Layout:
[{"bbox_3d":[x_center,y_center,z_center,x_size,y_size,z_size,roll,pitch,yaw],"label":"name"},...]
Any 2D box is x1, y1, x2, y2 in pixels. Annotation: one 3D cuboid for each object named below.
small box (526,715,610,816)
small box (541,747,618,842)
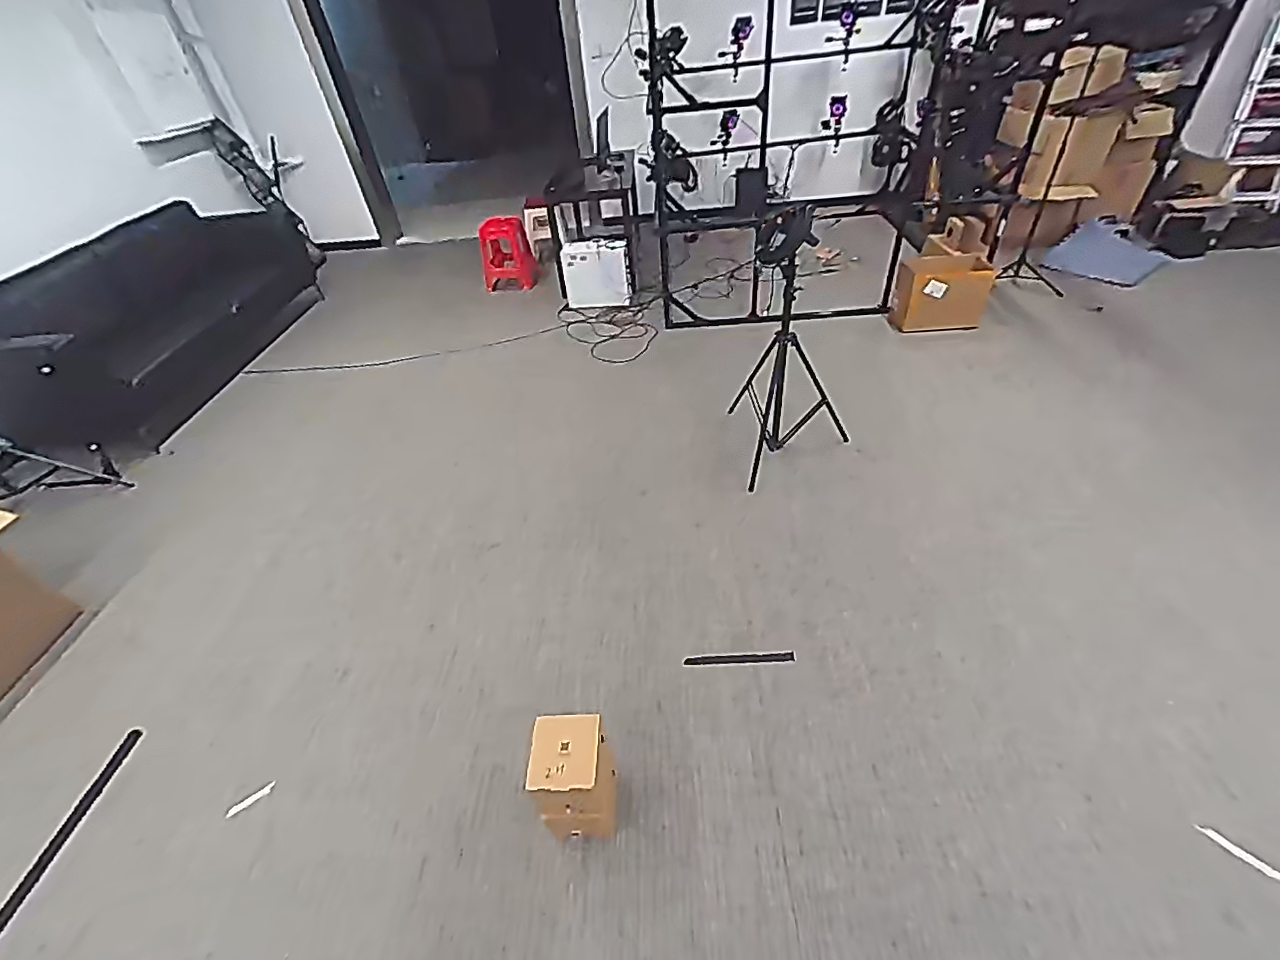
[{"bbox_3d":[-0.169,0.707,1.338,0.168,0.176,0.179,-4,42,5],"label":"small box"},{"bbox_3d":[-0.153,0.835,1.439,0.168,0.176,0.179,-4,41,5],"label":"small box"}]
